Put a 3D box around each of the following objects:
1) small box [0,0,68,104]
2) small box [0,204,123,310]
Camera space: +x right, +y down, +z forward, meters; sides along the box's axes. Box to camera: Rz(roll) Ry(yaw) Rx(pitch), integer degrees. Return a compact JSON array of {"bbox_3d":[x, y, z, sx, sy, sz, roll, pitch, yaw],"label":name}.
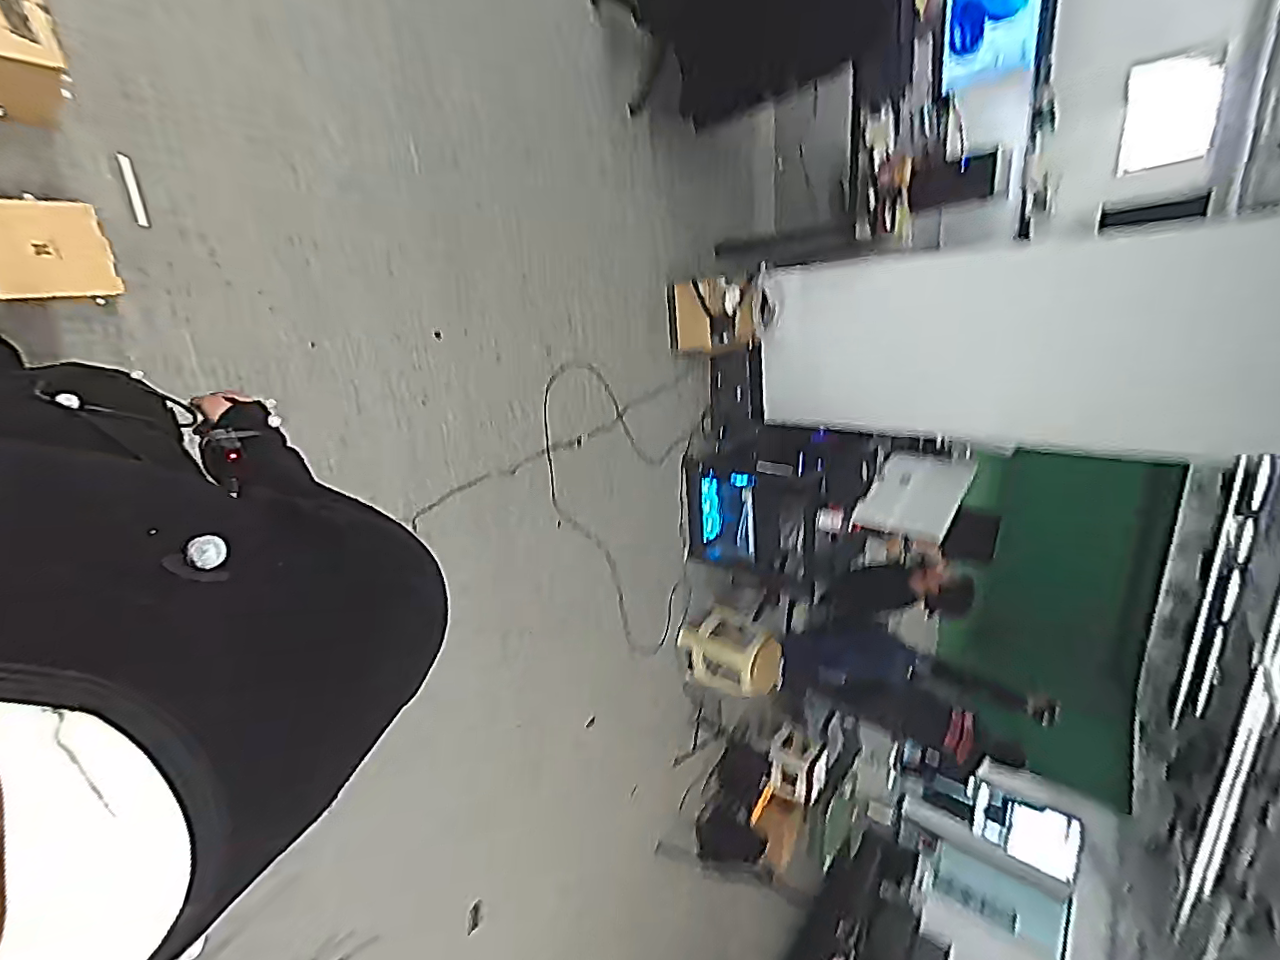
[{"bbox_3d":[-1.044,-0.719,0.843,0.179,0.176,0.168,-19,111,-45],"label":"small box"},{"bbox_3d":[-1.146,-0.422,1.040,0.179,0.176,0.168,-25,116,-44],"label":"small box"}]
